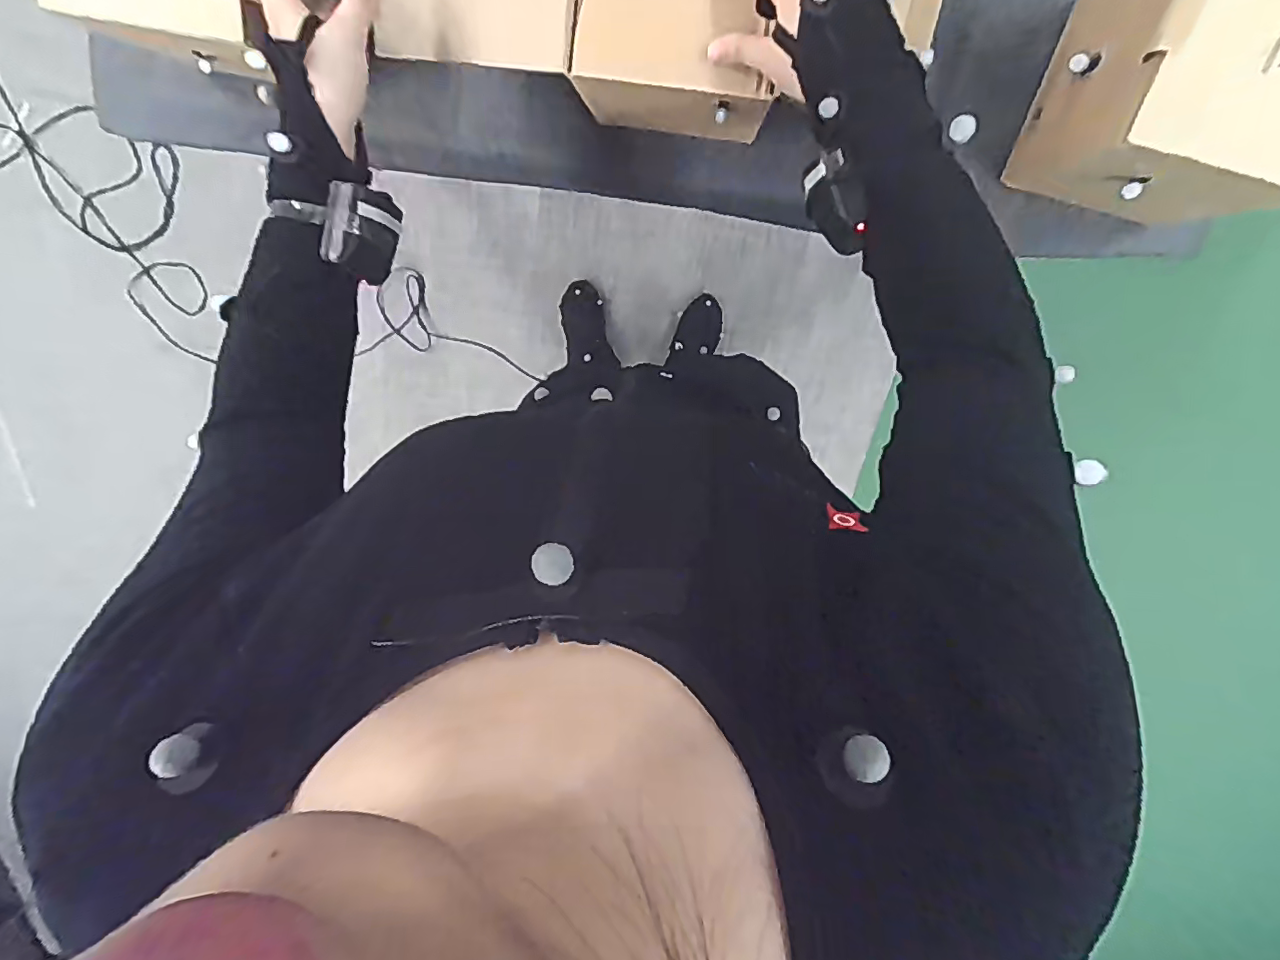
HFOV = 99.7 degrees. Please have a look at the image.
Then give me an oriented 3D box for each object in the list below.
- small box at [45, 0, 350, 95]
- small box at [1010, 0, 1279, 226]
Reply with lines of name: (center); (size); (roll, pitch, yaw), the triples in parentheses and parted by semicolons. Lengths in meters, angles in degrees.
small box: (-0.386, -0.472, 0.488); (0.179, 0.176, 0.168); (10, 114, 0)
small box: (0.479, -0.336, 0.475); (0.179, 0.176, 0.168); (14, 109, -1)
